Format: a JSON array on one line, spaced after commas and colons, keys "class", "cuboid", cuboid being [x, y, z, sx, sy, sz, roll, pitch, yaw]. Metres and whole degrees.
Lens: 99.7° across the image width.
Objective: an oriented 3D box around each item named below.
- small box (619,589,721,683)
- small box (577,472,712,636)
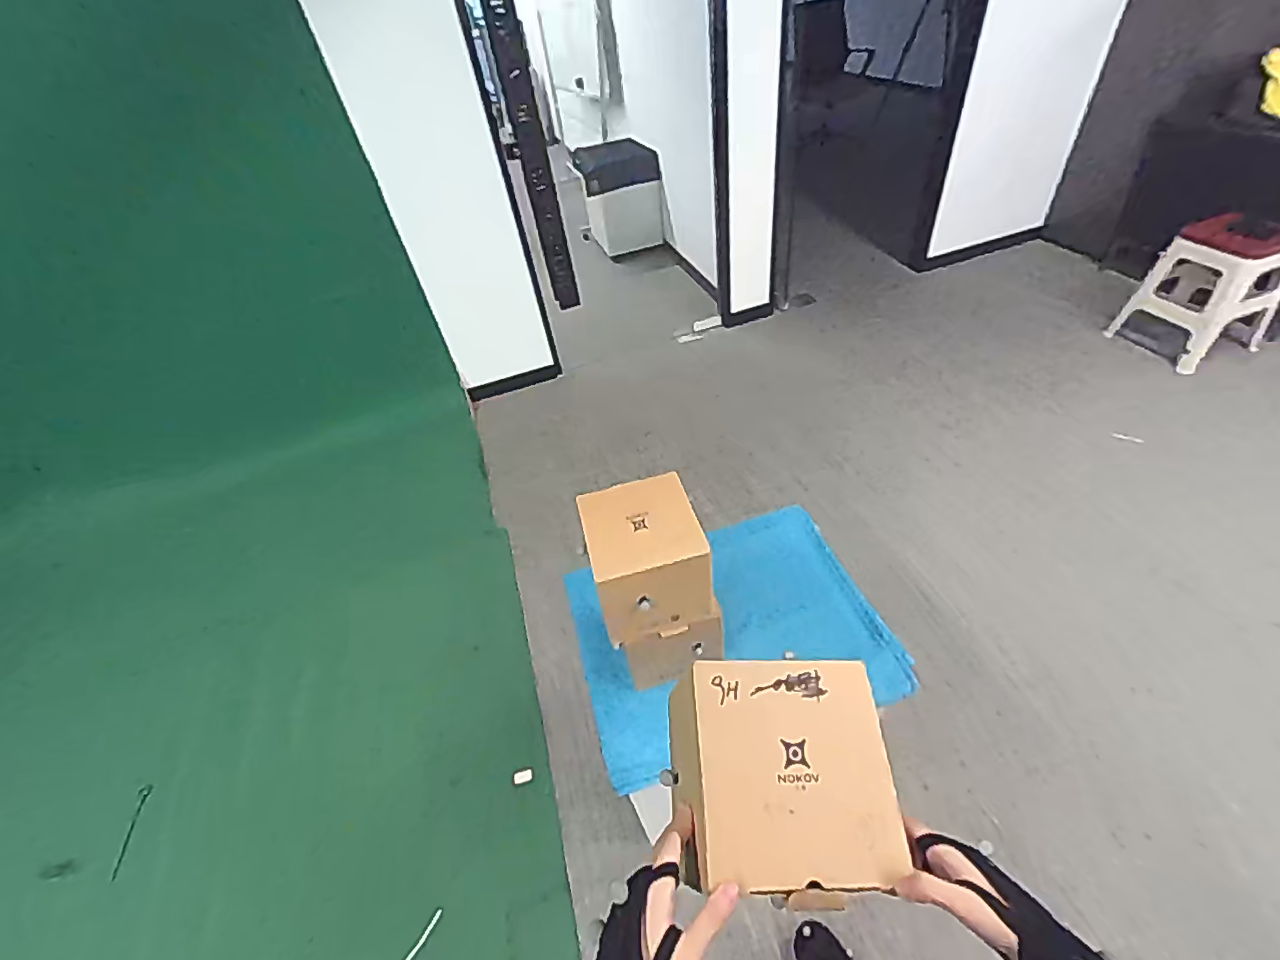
[{"class": "small box", "cuboid": [0.040, 0.233, 0.948, 0.168, 0.176, 0.179, -14, 43, -6]}, {"class": "small box", "cuboid": [0.009, 0.119, 0.836, 0.168, 0.176, 0.179, -14, 42, -5]}]
